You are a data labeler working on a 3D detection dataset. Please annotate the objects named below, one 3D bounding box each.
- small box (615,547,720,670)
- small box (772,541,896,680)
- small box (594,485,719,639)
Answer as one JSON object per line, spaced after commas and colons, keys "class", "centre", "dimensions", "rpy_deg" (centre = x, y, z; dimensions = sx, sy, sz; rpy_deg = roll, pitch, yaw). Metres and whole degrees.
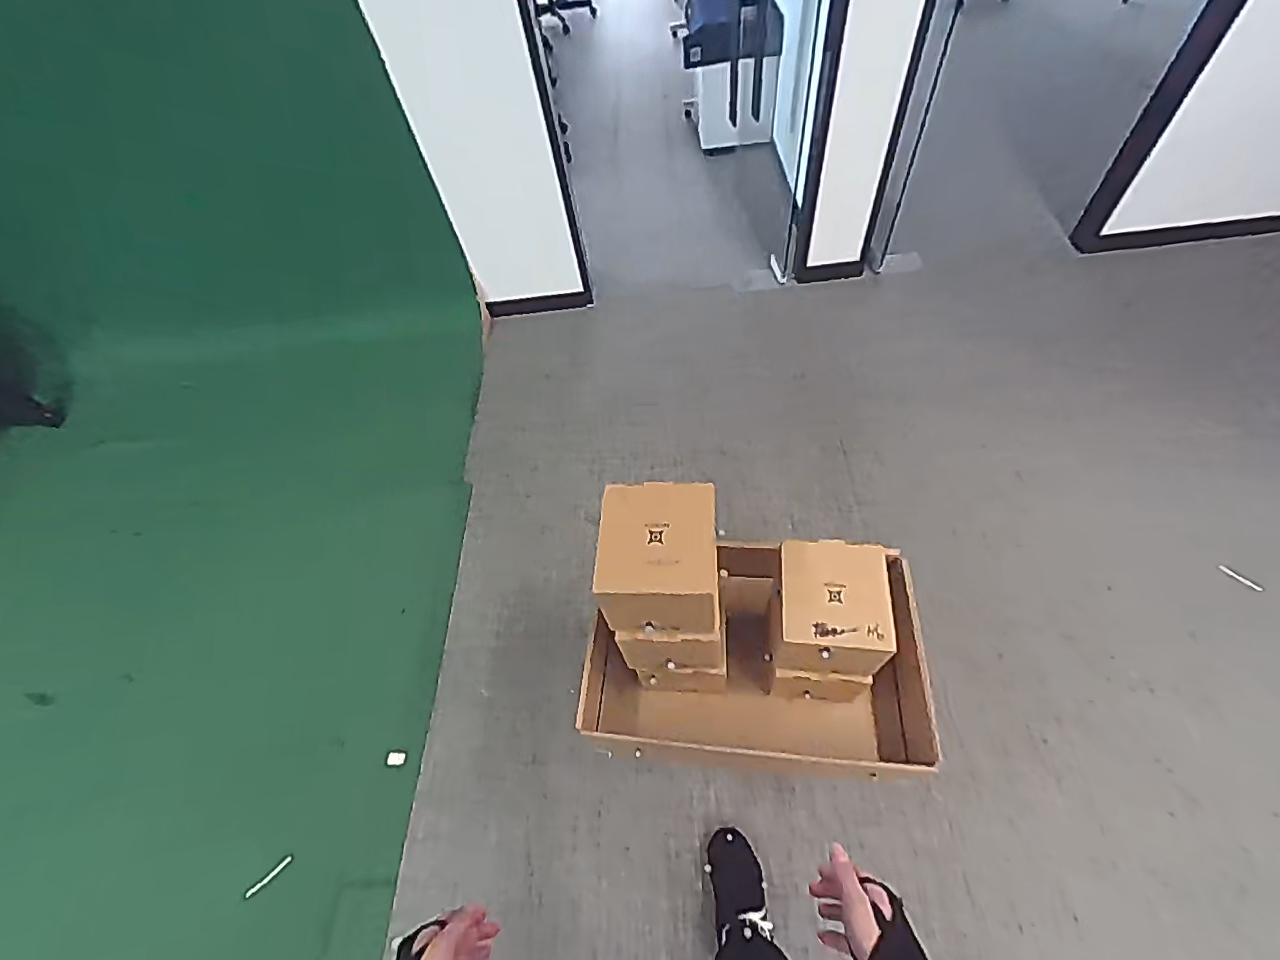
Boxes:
{"class": "small box", "centre": [0.054, 0.220, 0.946], "dimensions": [0.168, 0.176, 0.179], "rpy_deg": [-1, 58, 7]}
{"class": "small box", "centre": [0.316, 0.223, 0.916], "dimensions": [0.168, 0.176, 0.179], "rpy_deg": [3, 58, 9]}
{"class": "small box", "centre": [0.033, 0.125, 0.815], "dimensions": [0.168, 0.176, 0.179], "rpy_deg": [0, 58, 7]}
